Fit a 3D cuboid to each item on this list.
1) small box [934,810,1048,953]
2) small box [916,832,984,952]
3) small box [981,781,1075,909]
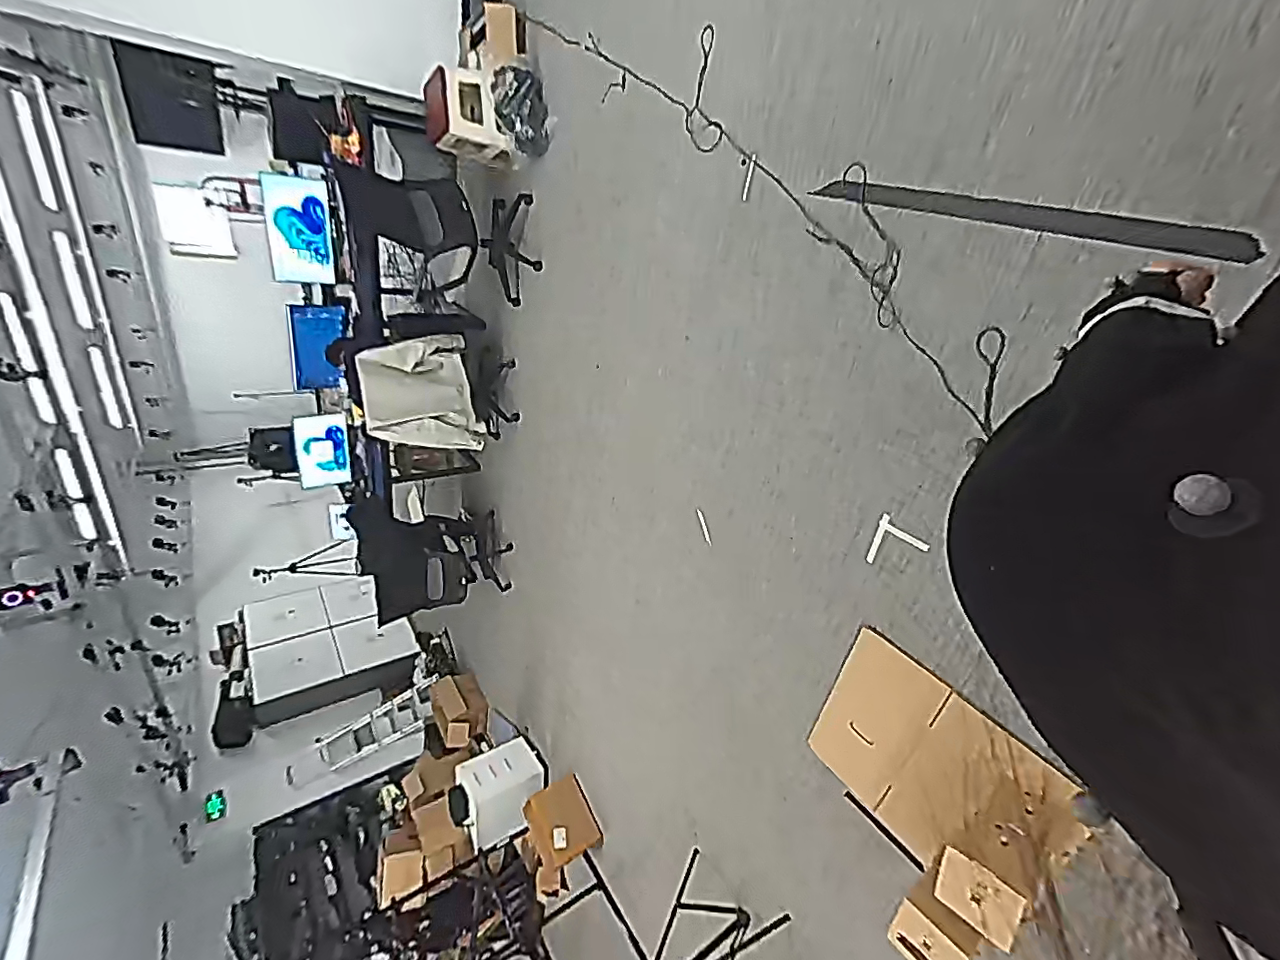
[{"bbox_3d":[0.834,0.943,1.285,0.168,0.176,0.179,22,116,48],"label":"small box"},{"bbox_3d":[0.914,1.148,1.519,0.168,0.176,0.179,28,121,47],"label":"small box"},{"bbox_3d":[0.970,0.914,1.374,0.168,0.176,0.179,22,116,49],"label":"small box"}]
